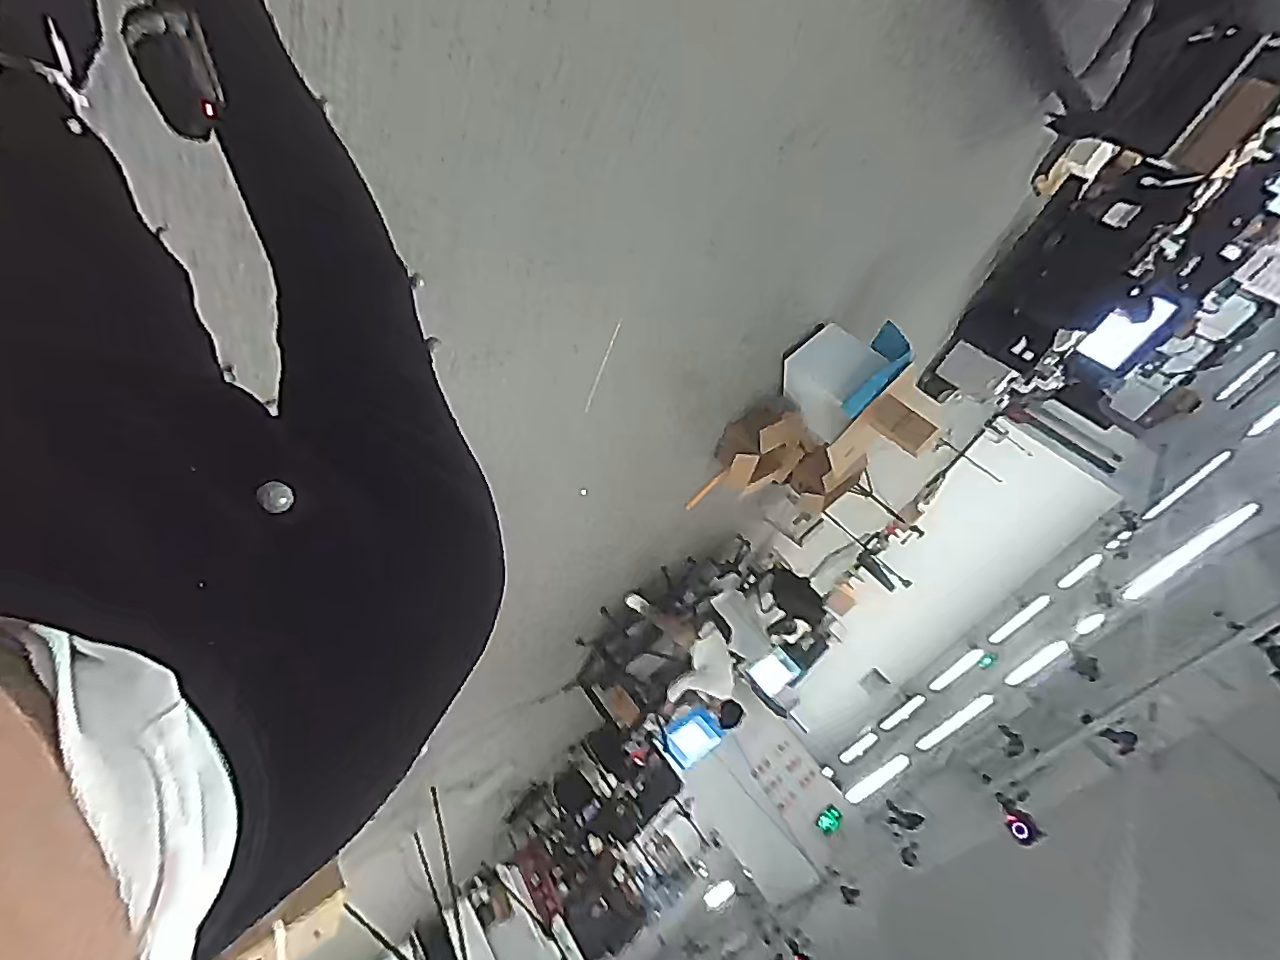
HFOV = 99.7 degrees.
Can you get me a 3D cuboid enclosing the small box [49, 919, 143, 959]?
[{"bbox_3d":[-1.406,1.297,1.405,0.168,0.176,0.179,-13,140,-46],"label":"small box"}]
